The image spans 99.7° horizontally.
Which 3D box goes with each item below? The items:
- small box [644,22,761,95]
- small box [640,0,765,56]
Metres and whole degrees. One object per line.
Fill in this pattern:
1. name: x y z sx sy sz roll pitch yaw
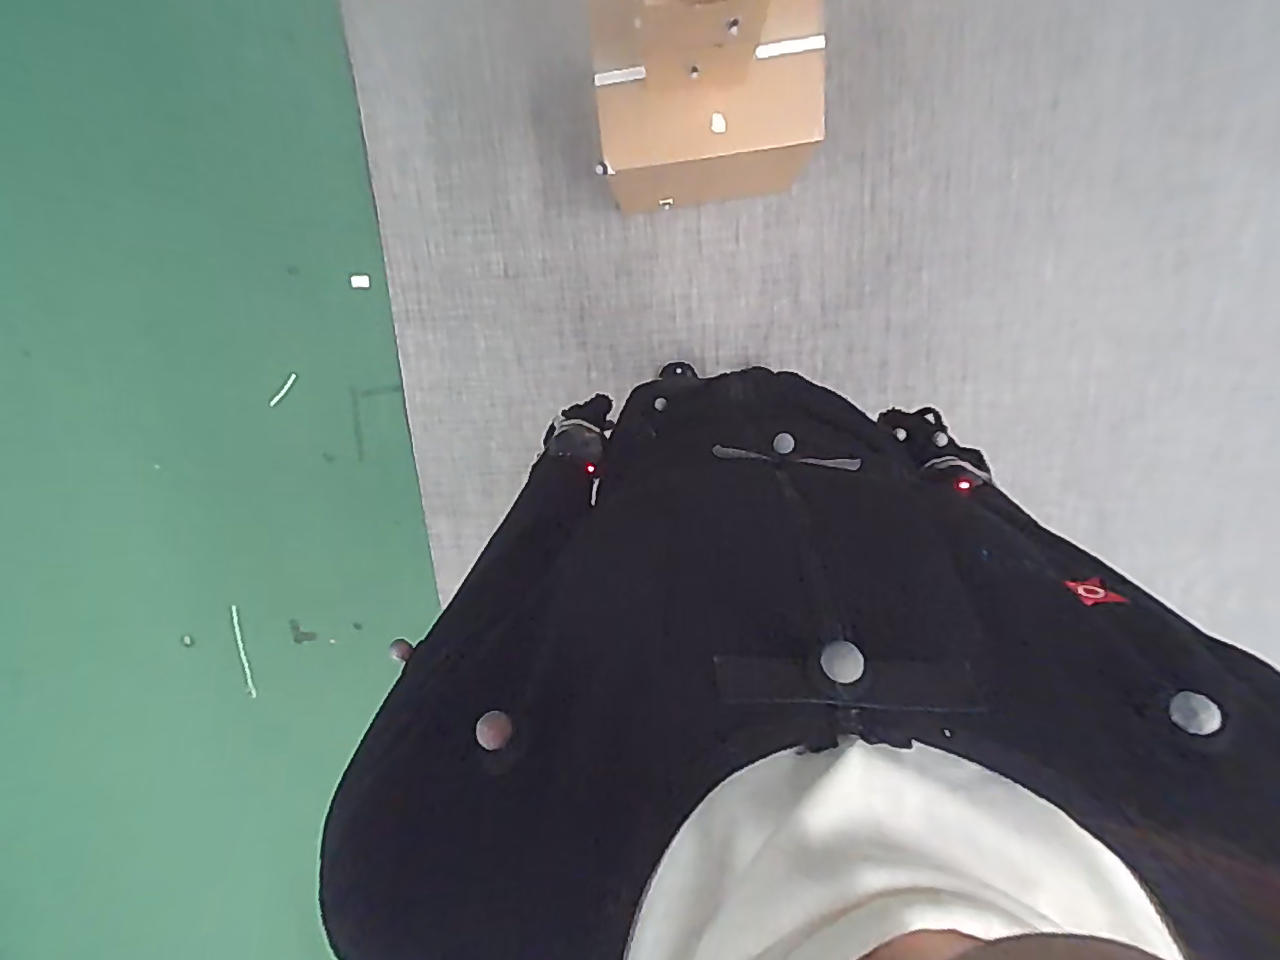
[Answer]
1. small box: 0.093 -0.753 0.872 0.179 0.176 0.168 -5 108 6
2. small box: 0.079 -0.701 0.719 0.168 0.176 0.179 -5 107 5
